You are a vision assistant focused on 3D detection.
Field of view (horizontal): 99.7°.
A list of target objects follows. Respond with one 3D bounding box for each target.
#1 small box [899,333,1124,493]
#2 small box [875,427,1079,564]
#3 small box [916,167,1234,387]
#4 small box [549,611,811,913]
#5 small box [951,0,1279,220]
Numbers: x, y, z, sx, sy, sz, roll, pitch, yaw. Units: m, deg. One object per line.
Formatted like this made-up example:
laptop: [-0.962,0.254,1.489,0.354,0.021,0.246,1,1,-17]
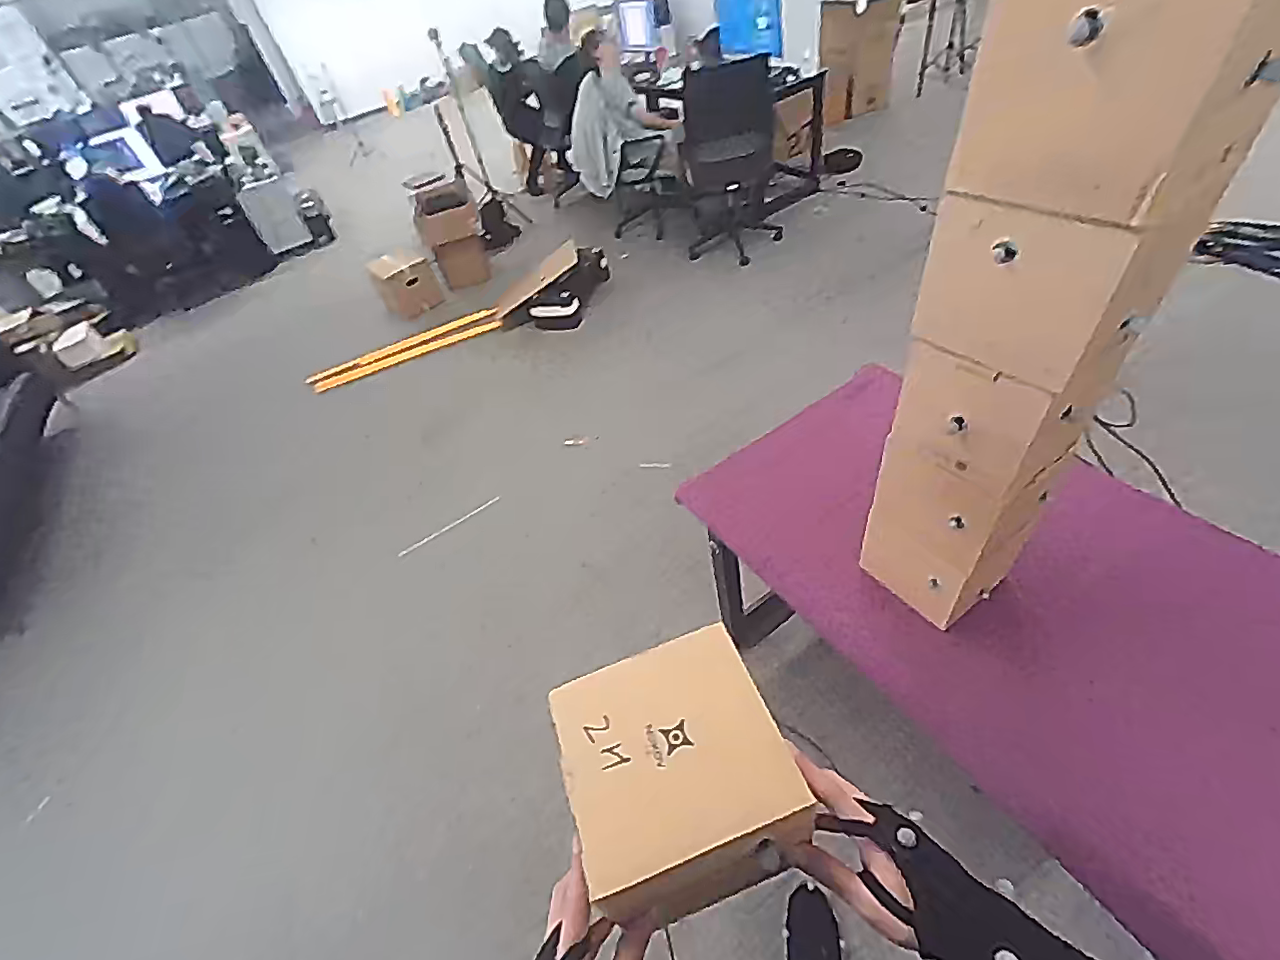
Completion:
small box: [0.453,-0.115,0.681,0.179,0.176,0.168,-32,49,-17]
small box: [0.477,-0.001,0.795,0.168,0.176,0.179,-31,47,-16]
small box: [0.422,-0.224,0.562,0.168,0.176,0.179,-32,49,-17]
small box: [0.035,0.257,0.494,0.179,0.176,0.168,-20,42,-5]
small box: [0.399,-0.335,0.445,0.168,0.176,0.179,-32,48,-17]
